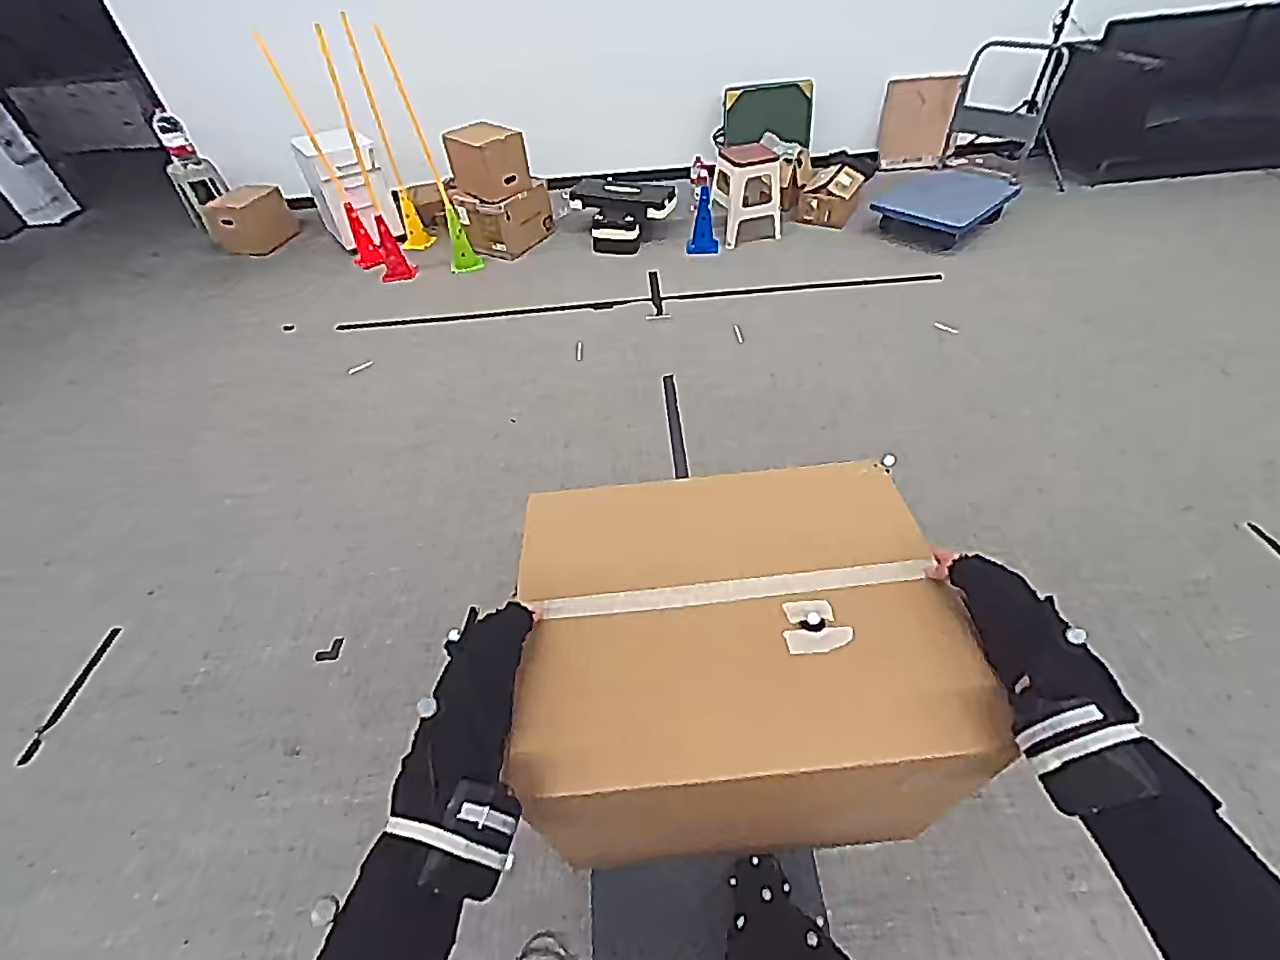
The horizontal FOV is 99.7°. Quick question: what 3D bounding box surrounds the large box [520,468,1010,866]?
[{"bbox_3d":[0.098,0.220,0.636,0.408,0.320,0.320,-6,46,0],"label":"large box"}]
